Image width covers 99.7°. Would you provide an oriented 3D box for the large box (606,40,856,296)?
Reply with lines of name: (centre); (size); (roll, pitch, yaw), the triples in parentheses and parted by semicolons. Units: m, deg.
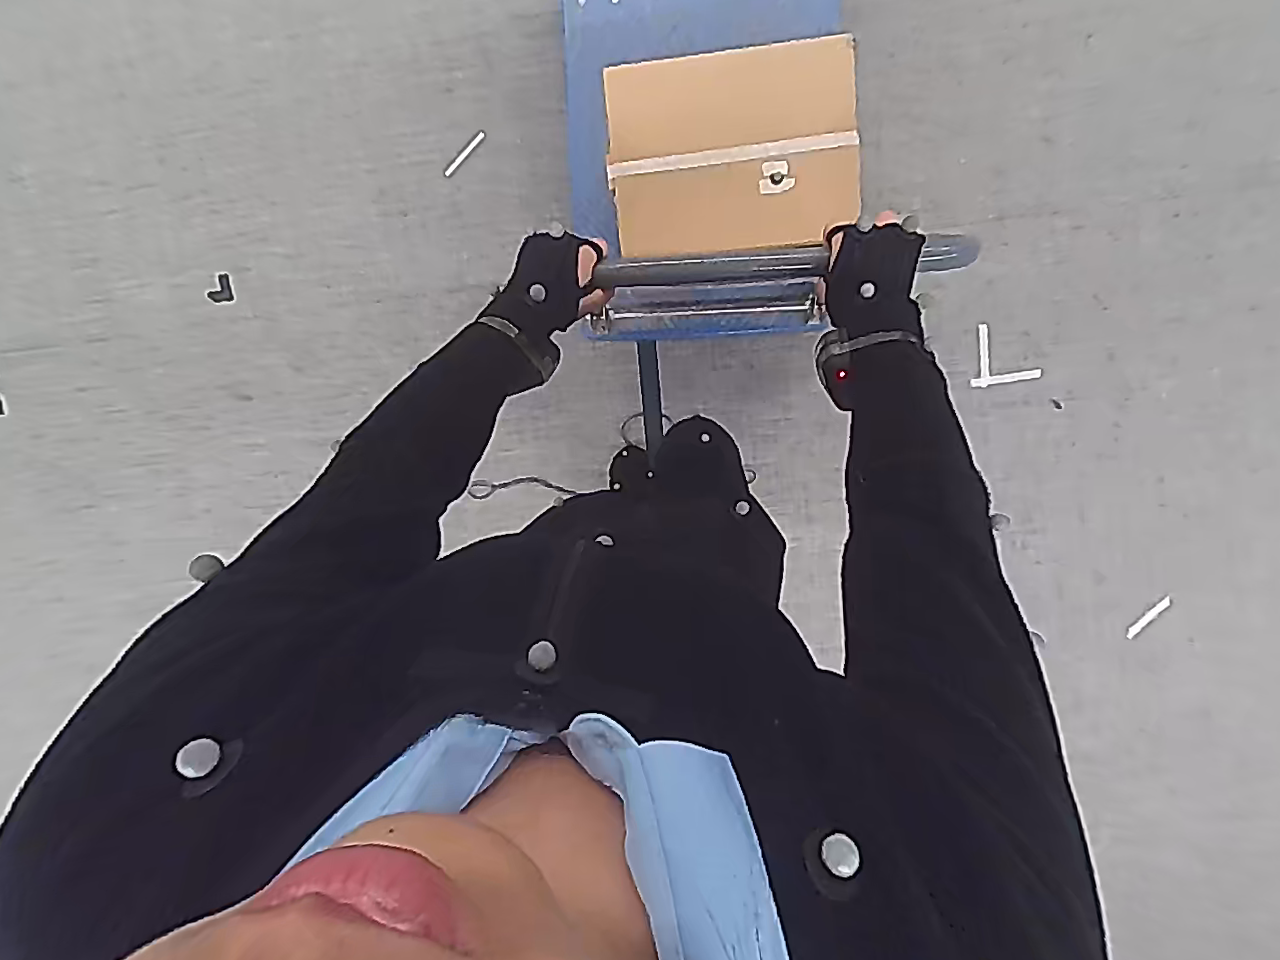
large box: (0.160, -0.566, 1.055); (0.408, 0.320, 0.320); (-6, 100, 3)
